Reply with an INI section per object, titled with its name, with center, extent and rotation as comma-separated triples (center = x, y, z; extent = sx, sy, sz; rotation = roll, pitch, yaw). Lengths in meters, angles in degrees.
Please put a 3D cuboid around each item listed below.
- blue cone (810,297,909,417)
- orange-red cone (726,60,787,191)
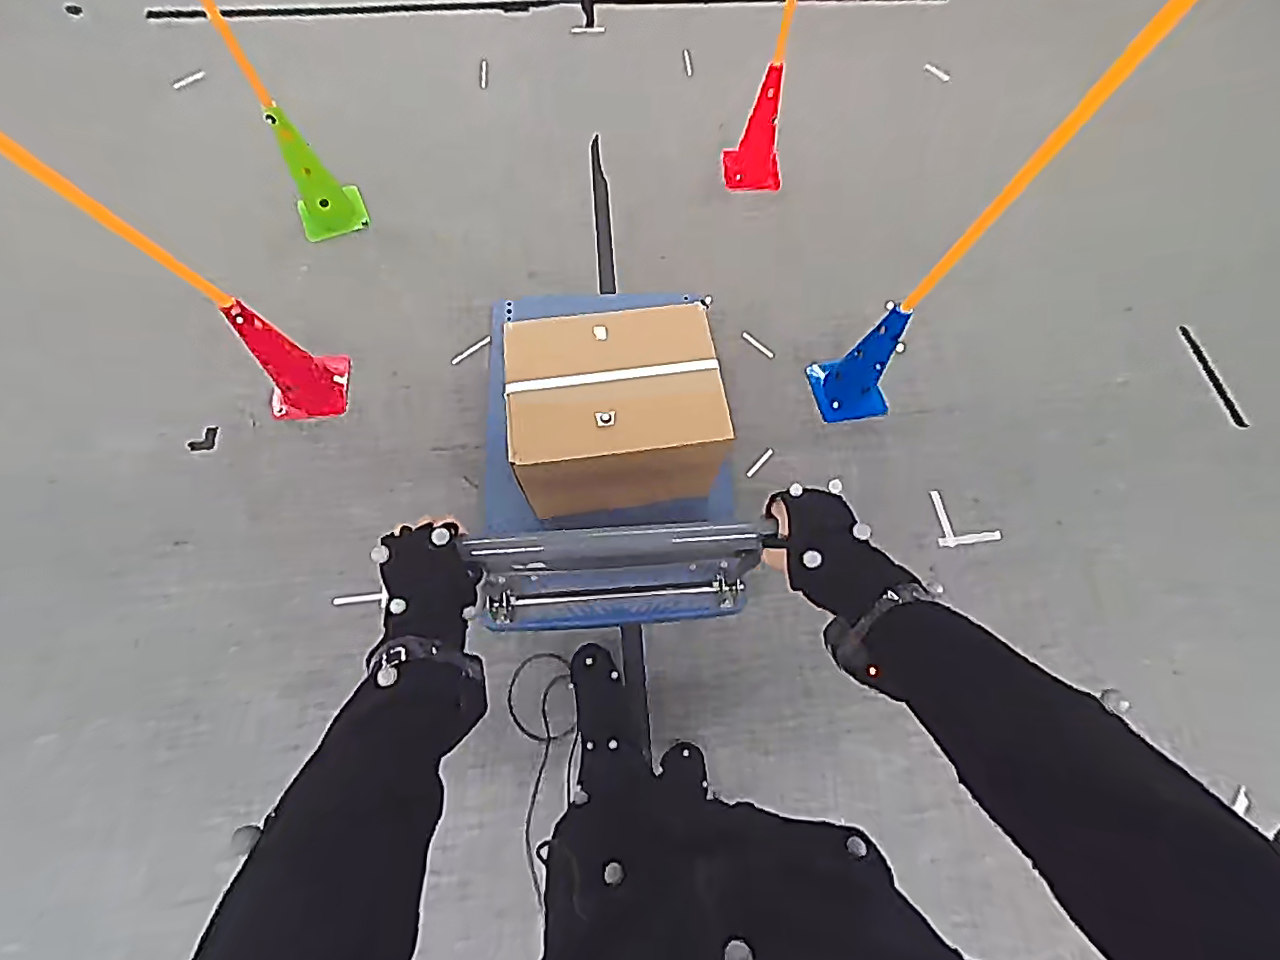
[blue cone]
center = 0.620, -0.339, 1.451
extent = 0.193, 0.380, 0.192
rotation = -8, 67, -5
[orange-red cone]
center = 0.413, -1.169, 1.764
extent = 0.199, 0.360, 0.198
rotation = 2, 69, -2
